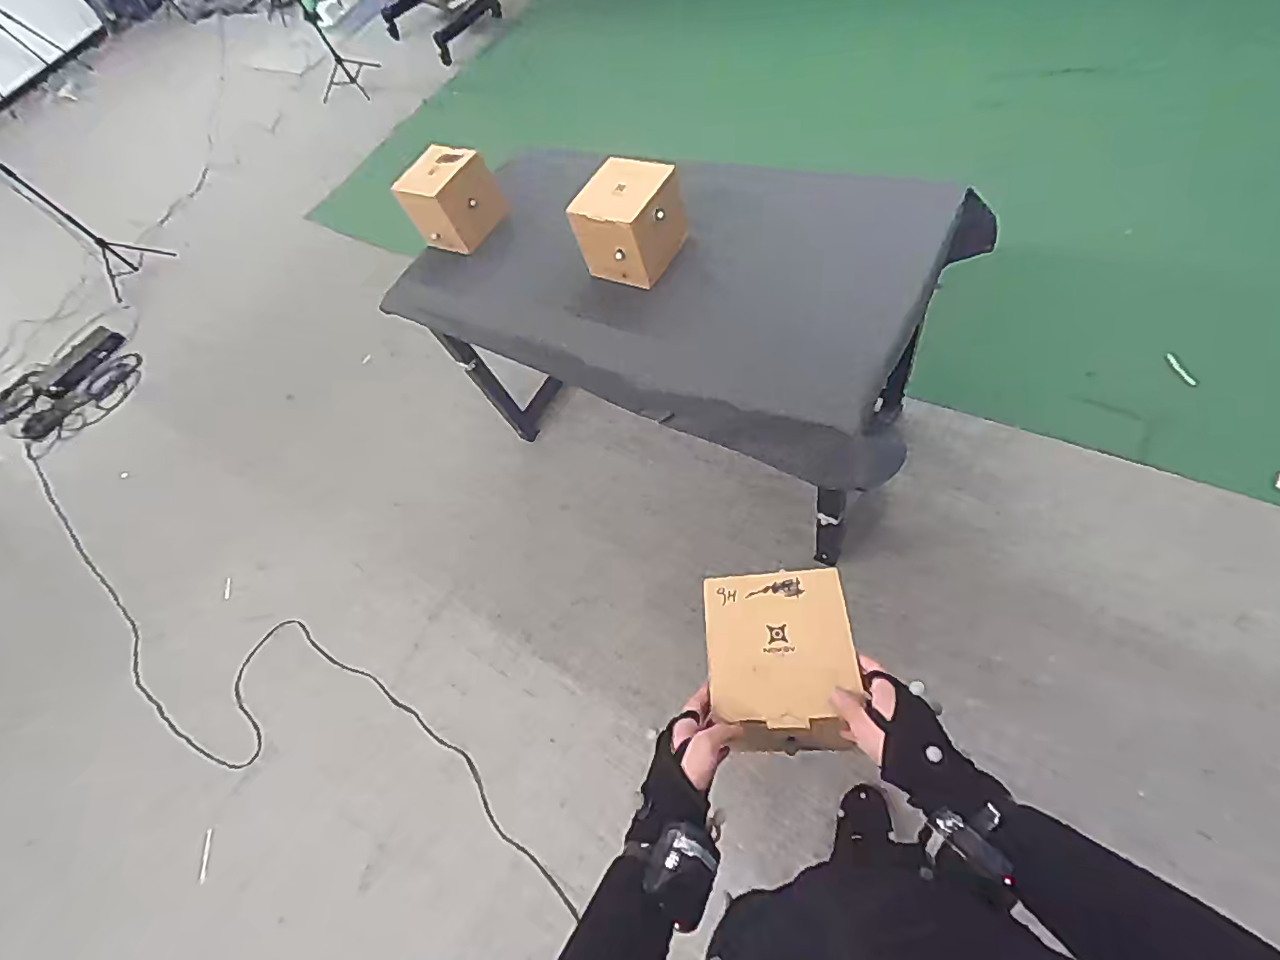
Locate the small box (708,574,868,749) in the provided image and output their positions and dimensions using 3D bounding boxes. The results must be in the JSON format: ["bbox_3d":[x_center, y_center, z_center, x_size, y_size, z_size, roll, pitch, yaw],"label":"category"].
[{"bbox_3d":[0.183,0.240,0.693,0.168,0.176,0.179,-7,54,11],"label":"small box"}]

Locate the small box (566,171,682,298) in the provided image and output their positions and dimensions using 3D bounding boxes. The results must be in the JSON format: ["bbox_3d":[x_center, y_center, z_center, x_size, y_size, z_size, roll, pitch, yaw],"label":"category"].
[{"bbox_3d":[-0.024,-0.522,1.160,0.168,0.176,0.179,24,70,25],"label":"small box"}]

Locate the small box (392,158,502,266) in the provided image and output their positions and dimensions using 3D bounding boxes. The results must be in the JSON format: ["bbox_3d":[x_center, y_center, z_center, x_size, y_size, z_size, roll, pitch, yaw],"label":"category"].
[{"bbox_3d":[-0.480,-0.684,1.382,0.168,0.176,0.179,22,70,26],"label":"small box"}]
